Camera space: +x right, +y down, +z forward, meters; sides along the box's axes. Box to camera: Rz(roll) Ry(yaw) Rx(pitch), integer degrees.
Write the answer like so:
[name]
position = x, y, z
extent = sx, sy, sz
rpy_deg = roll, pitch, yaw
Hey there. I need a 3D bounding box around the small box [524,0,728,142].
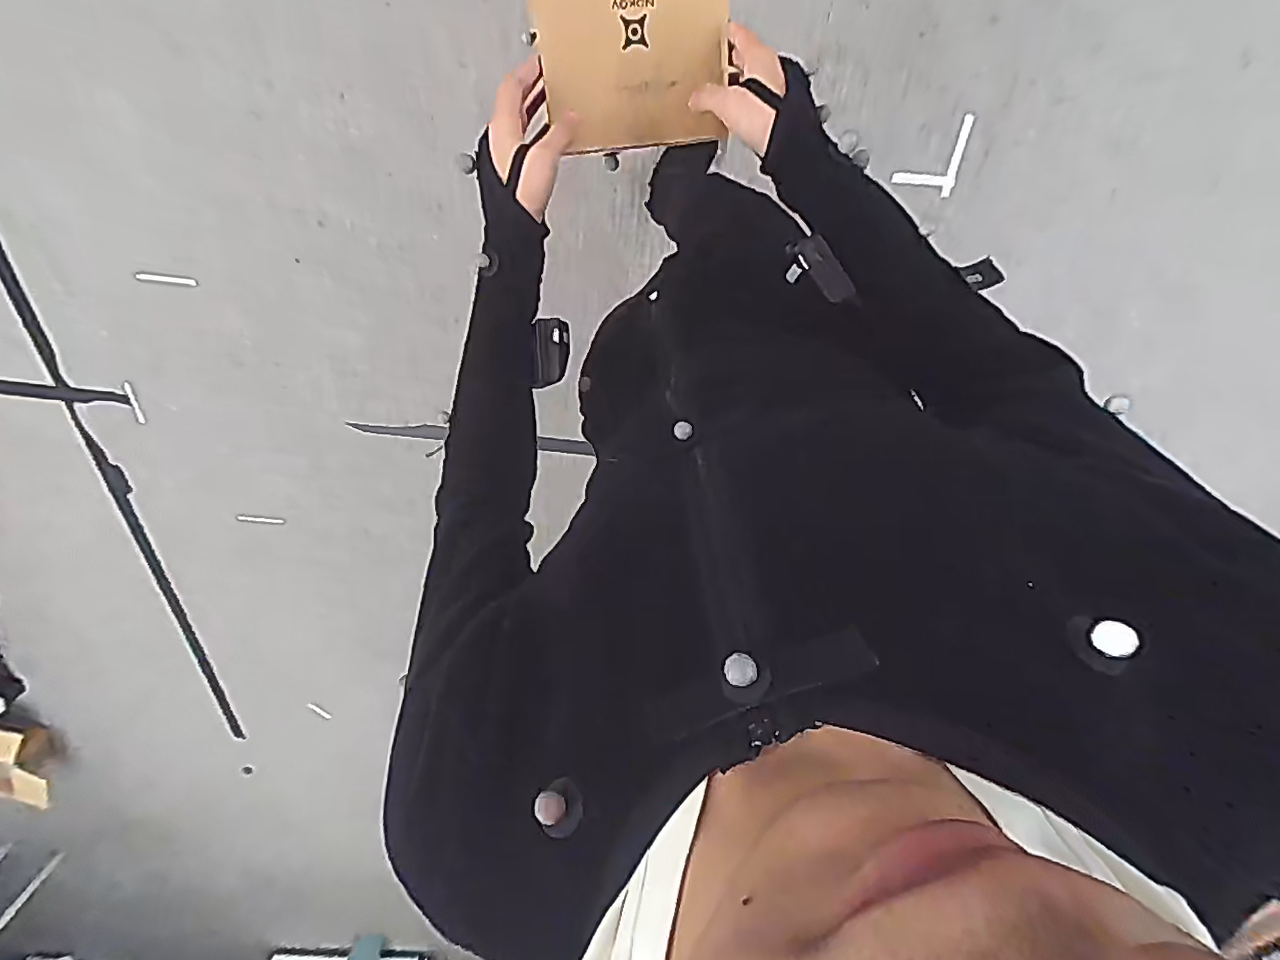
[small box]
position = -0.021, -0.433, 0.509
extent = 0.168, 0.176, 0.179
rpy_deg = -9, 120, -5
